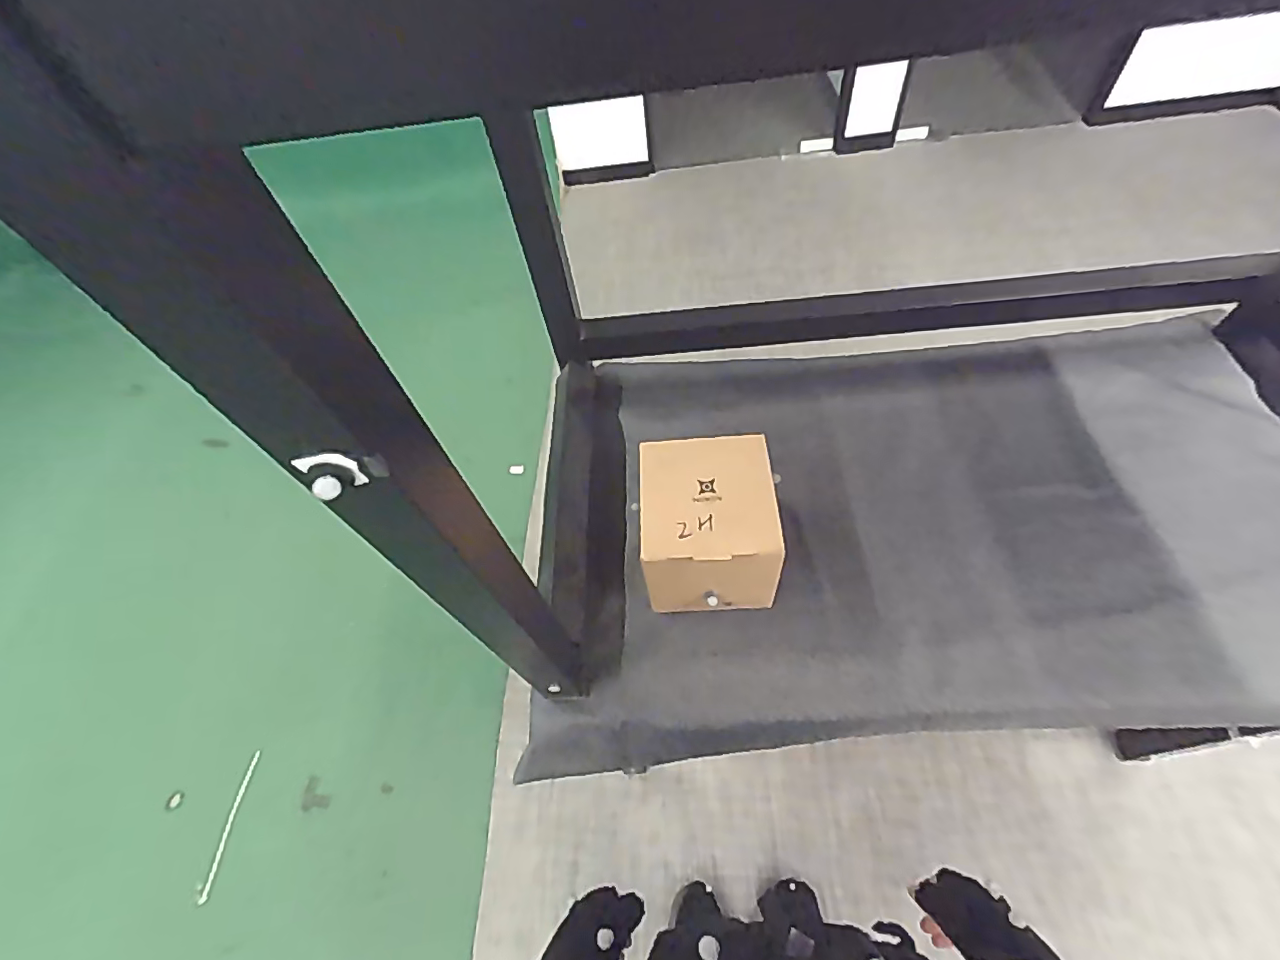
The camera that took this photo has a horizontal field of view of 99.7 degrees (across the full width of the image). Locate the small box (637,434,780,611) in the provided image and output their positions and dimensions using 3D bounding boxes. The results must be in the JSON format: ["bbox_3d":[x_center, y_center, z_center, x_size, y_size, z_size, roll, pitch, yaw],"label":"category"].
[{"bbox_3d":[0.086,0.061,0.727,0.168,0.176,0.179,-4,55,5],"label":"small box"}]
